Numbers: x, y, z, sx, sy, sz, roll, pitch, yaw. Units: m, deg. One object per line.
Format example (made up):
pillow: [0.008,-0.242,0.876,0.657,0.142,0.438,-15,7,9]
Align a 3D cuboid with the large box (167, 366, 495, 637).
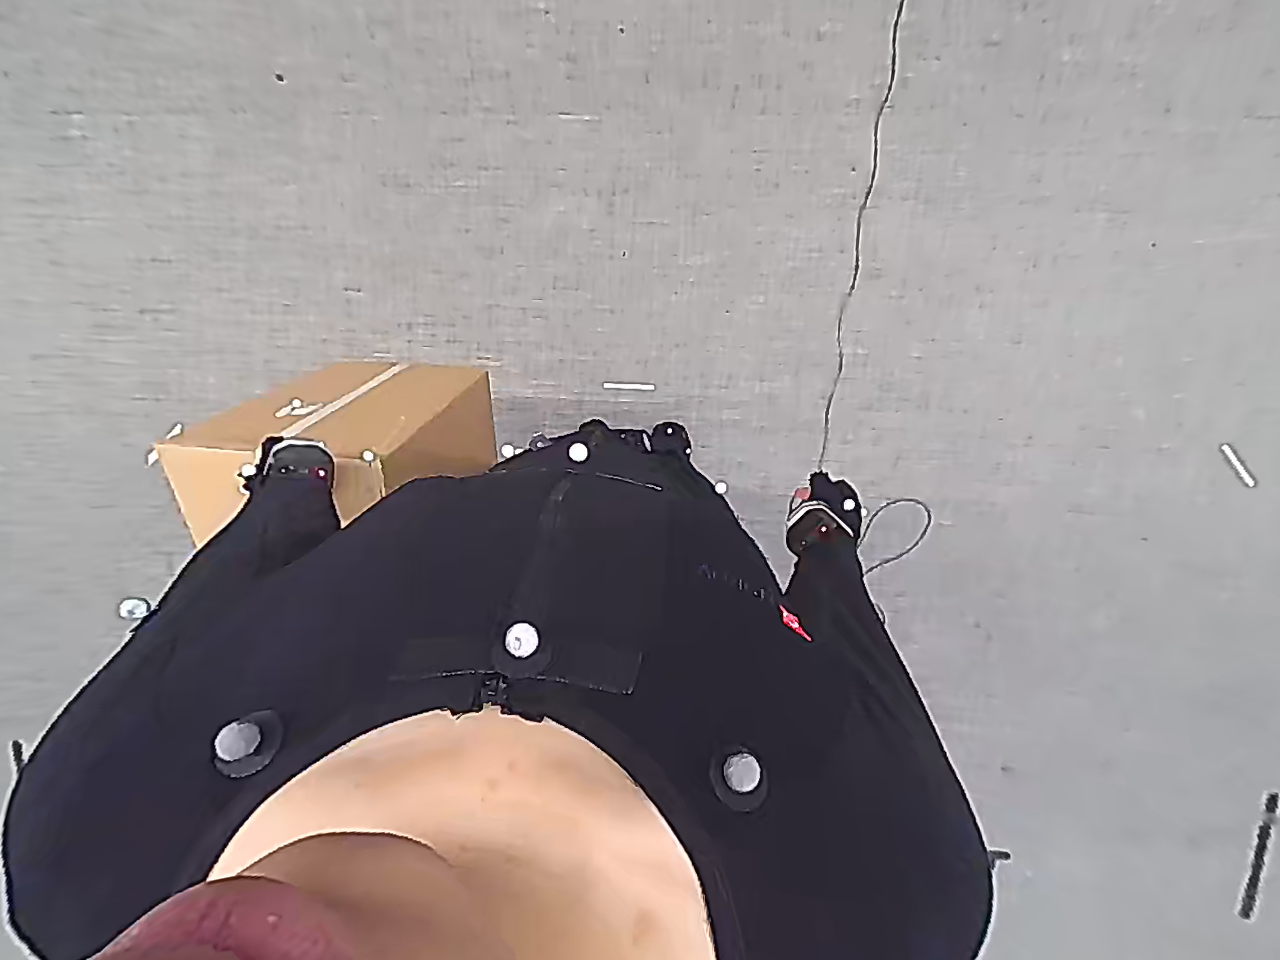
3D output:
large box: [-0.473,0.013,0.954,0.320,0.408,0.320,3,118,4]
